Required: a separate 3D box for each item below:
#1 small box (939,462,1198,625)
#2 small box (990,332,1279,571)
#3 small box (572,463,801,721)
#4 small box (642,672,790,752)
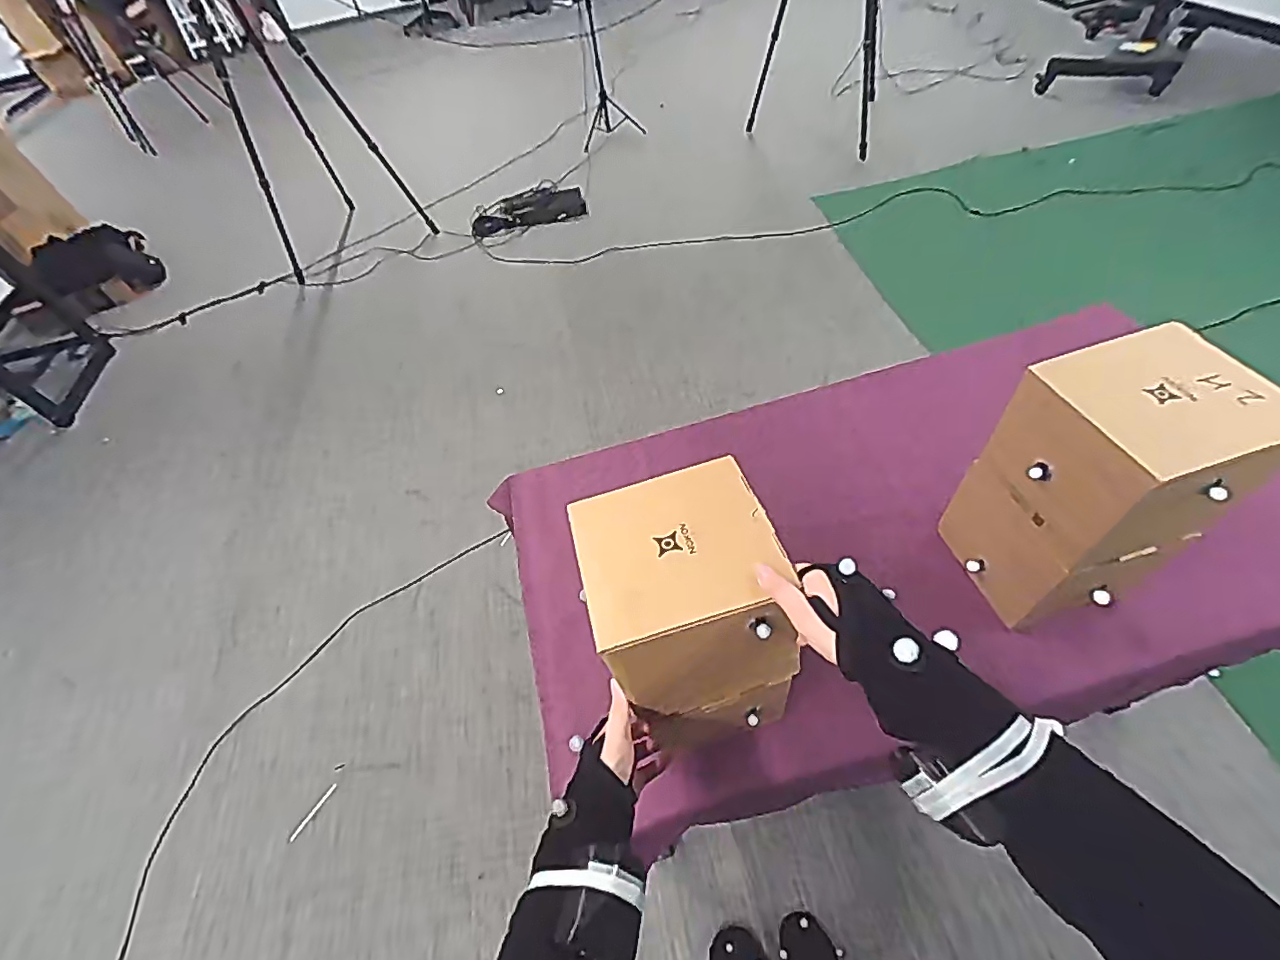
[{"bbox_3d":[0.538,0.075,0.714,0.168,0.176,0.179,-16,52,-3],"label":"small box"},{"bbox_3d":[0.519,-0.025,0.584,0.179,0.176,0.168,-16,52,-3],"label":"small box"},{"bbox_3d":[0.046,0.116,0.544,0.179,0.176,0.168,-17,46,-3],"label":"small box"},{"bbox_3d":[0.072,0.223,0.680,0.168,0.176,0.179,-16,51,-4],"label":"small box"}]
